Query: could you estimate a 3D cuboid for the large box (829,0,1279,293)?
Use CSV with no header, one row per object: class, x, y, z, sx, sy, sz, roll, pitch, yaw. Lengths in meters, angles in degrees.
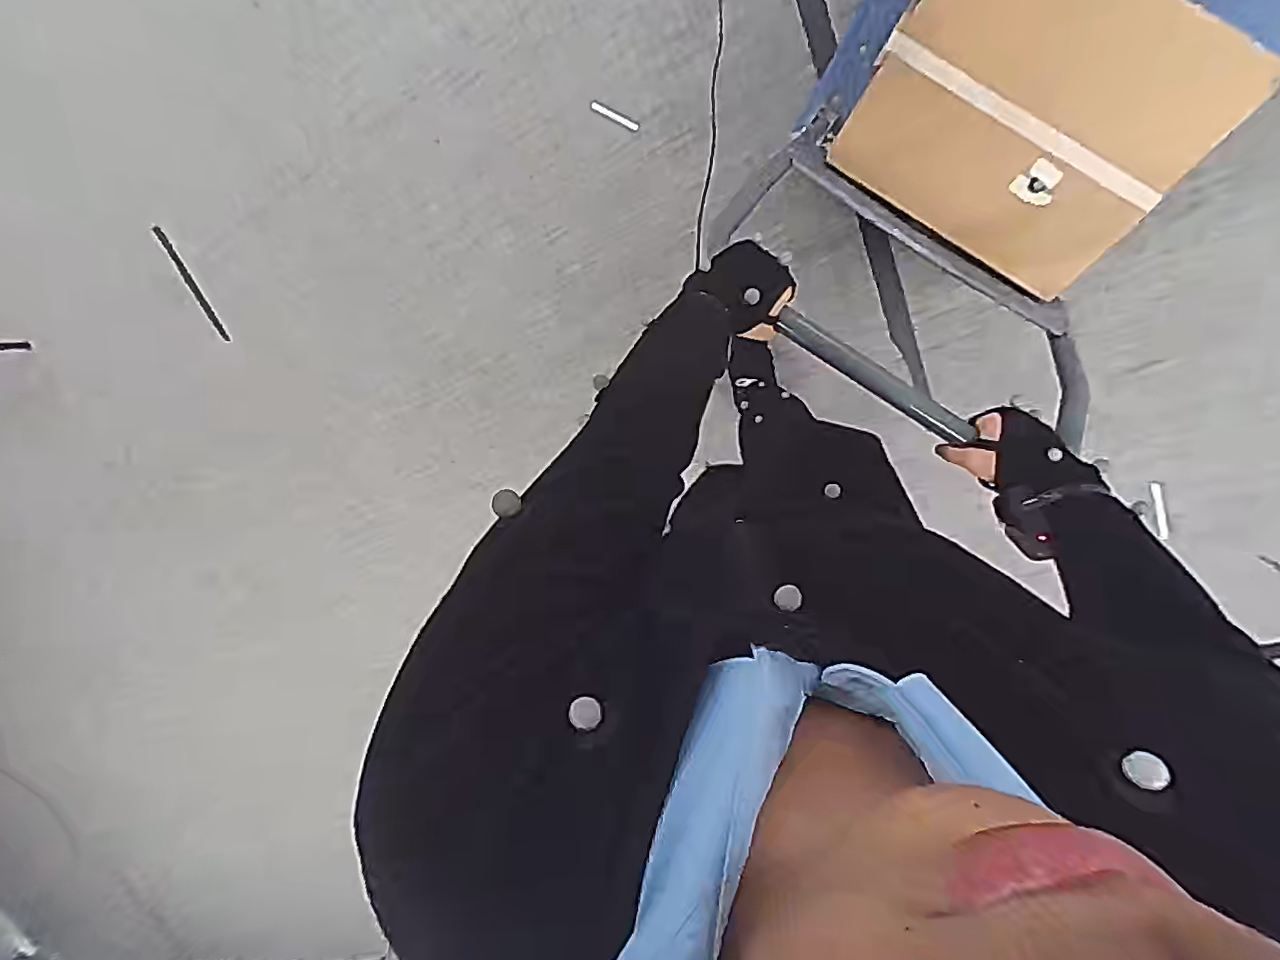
large box,0.564,-0.566,0.835,0.408,0.320,0.320,32,134,0
